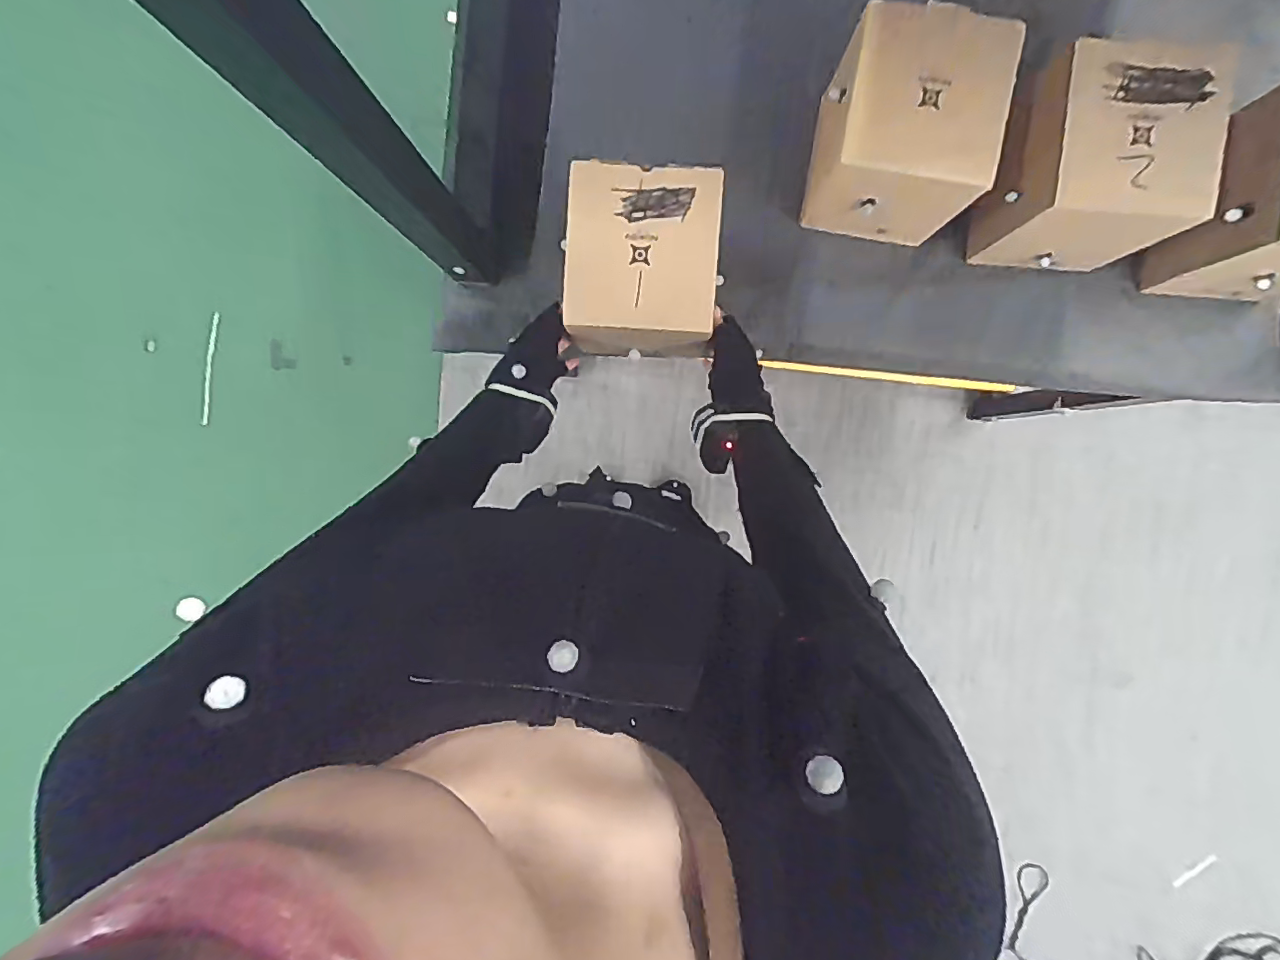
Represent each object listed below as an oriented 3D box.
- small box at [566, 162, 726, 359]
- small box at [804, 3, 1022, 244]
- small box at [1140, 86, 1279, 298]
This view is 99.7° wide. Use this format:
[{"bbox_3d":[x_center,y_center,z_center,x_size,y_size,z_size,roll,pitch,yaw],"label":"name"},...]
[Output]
[{"bbox_3d":[0.007,-0.255,0.665,0.168,0.176,0.179,4,94,1],"label":"small box"},{"bbox_3d":[0.310,-0.410,0.654,0.168,0.176,0.179,10,92,1],"label":"small box"},{"bbox_3d":[0.750,-0.328,0.640,0.168,0.176,0.179,5,92,1],"label":"small box"}]
